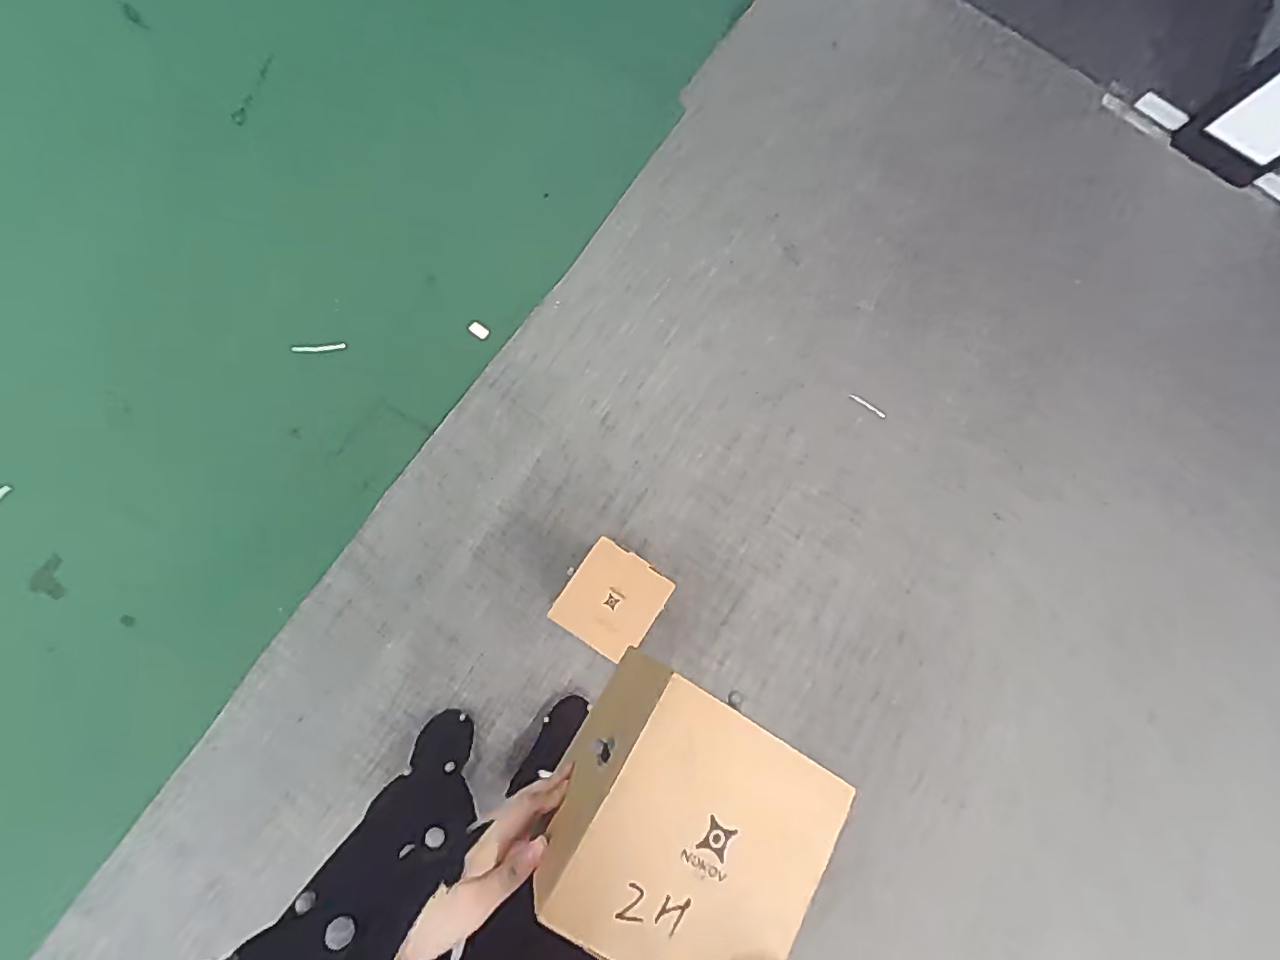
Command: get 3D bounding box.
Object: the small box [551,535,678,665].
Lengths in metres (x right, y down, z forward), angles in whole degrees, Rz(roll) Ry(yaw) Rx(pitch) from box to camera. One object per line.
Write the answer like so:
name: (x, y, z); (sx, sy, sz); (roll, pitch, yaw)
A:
small box: (-0.052, 0.227, 1.027); (0.168, 0.176, 0.179); (33, 77, 2)

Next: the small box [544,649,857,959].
small box: (0.032, 0.257, 0.441); (0.168, 0.176, 0.179); (33, 74, -3)
